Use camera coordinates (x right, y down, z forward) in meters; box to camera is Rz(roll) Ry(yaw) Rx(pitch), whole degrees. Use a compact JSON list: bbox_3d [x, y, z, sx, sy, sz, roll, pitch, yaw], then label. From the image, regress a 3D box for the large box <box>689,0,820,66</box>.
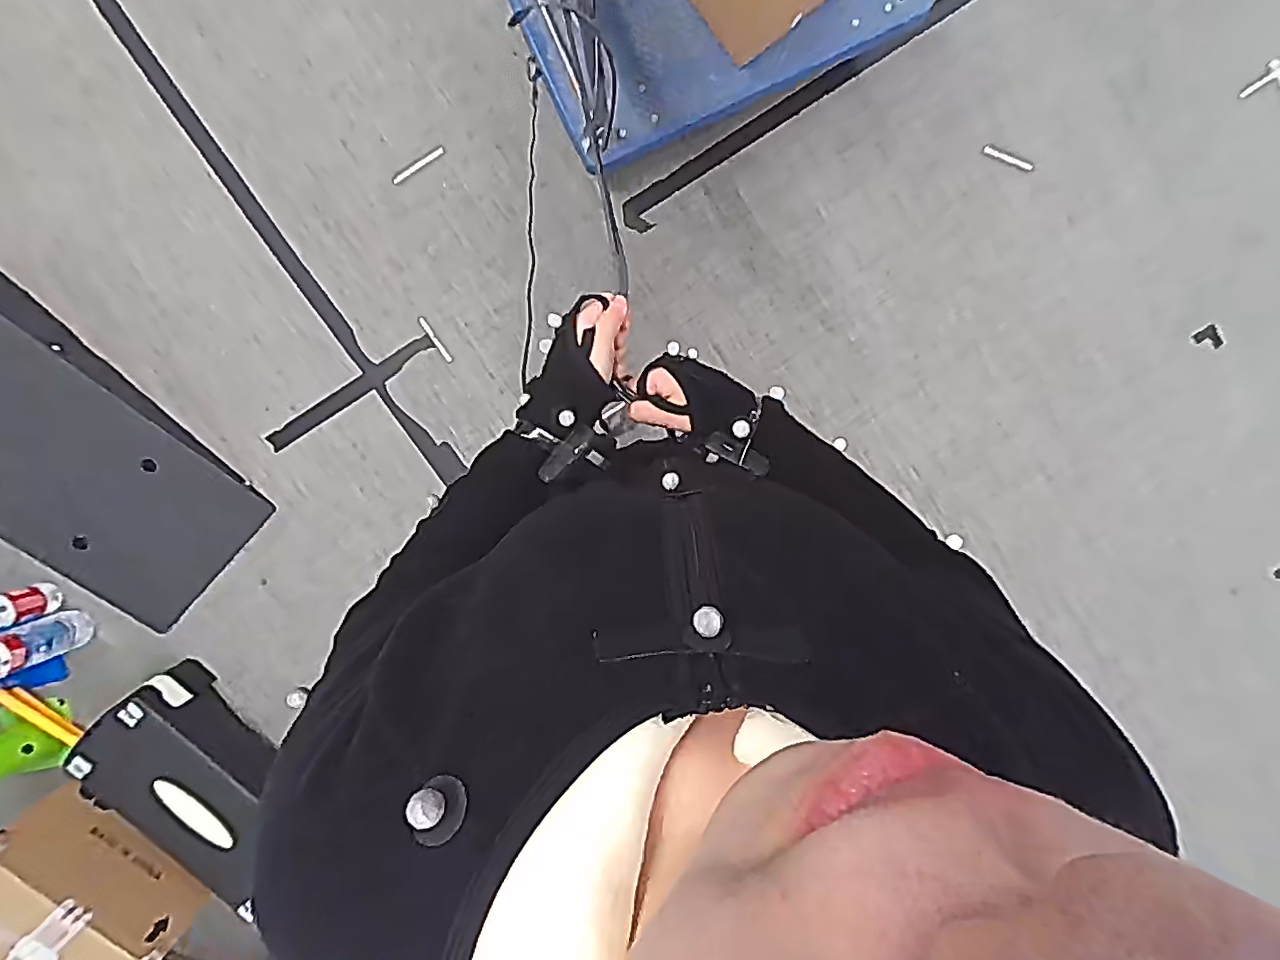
[{"bbox_3d":[0.219,-1.159,1.049,0.320,0.320,0.408,-39,96,3],"label":"large box"}]
